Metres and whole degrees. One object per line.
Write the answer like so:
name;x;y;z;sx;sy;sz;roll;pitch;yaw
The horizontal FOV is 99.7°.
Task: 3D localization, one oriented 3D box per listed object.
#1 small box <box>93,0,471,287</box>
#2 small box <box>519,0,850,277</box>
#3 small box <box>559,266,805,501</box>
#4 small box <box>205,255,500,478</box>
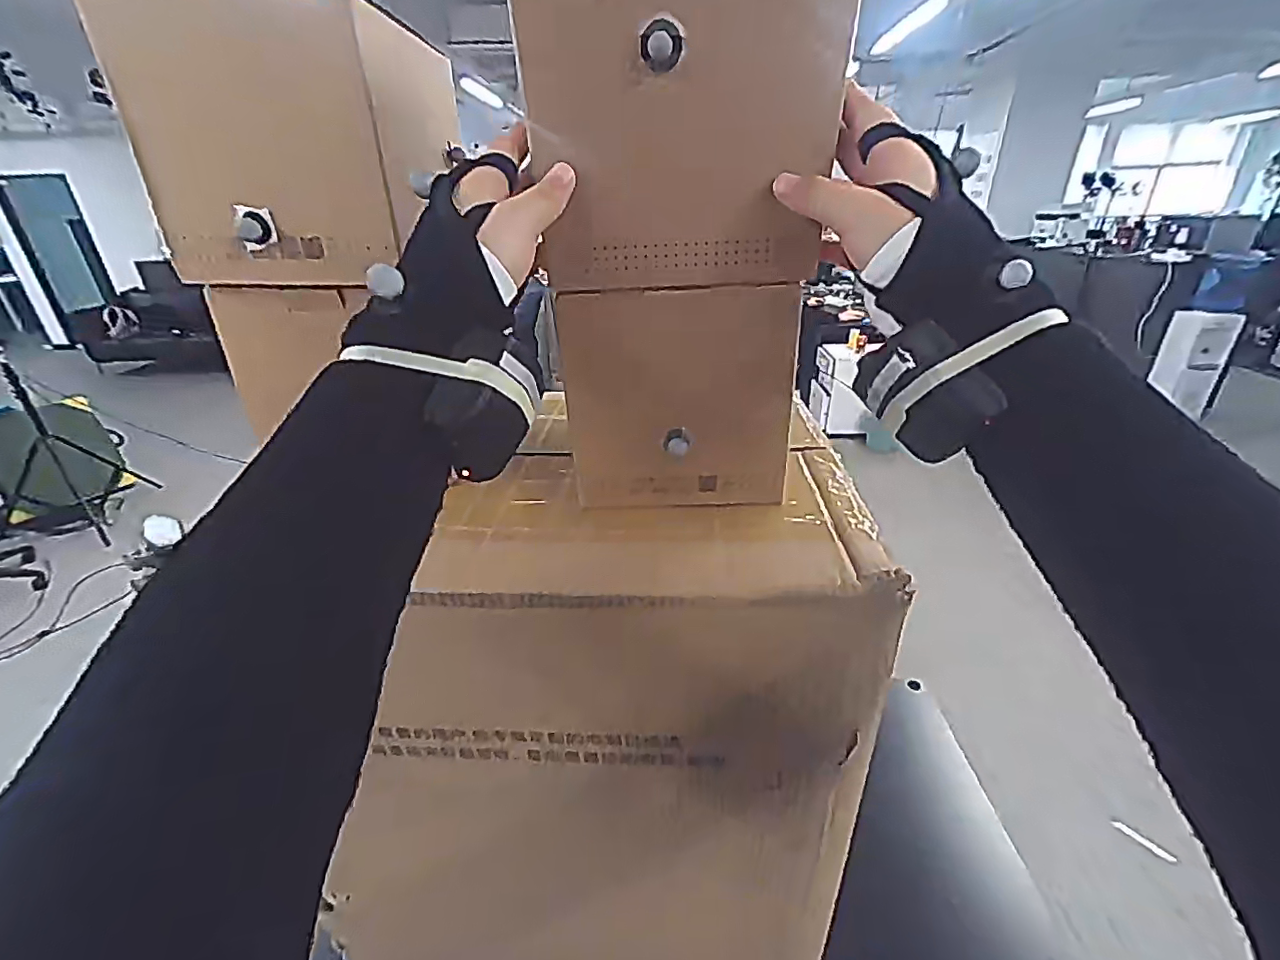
small box;-0.240;-0.250;0.420;0.168;0.176;0.179;-1;27;1
small box;0.027;-0.243;0.363;0.179;0.176;0.168;-1;38;2
small box;0.034;-0.096;0.463;0.168;0.176;0.179;-1;28;4
small box;-0.237;-0.110;0.506;0.168;0.176;0.179;1;27;1
